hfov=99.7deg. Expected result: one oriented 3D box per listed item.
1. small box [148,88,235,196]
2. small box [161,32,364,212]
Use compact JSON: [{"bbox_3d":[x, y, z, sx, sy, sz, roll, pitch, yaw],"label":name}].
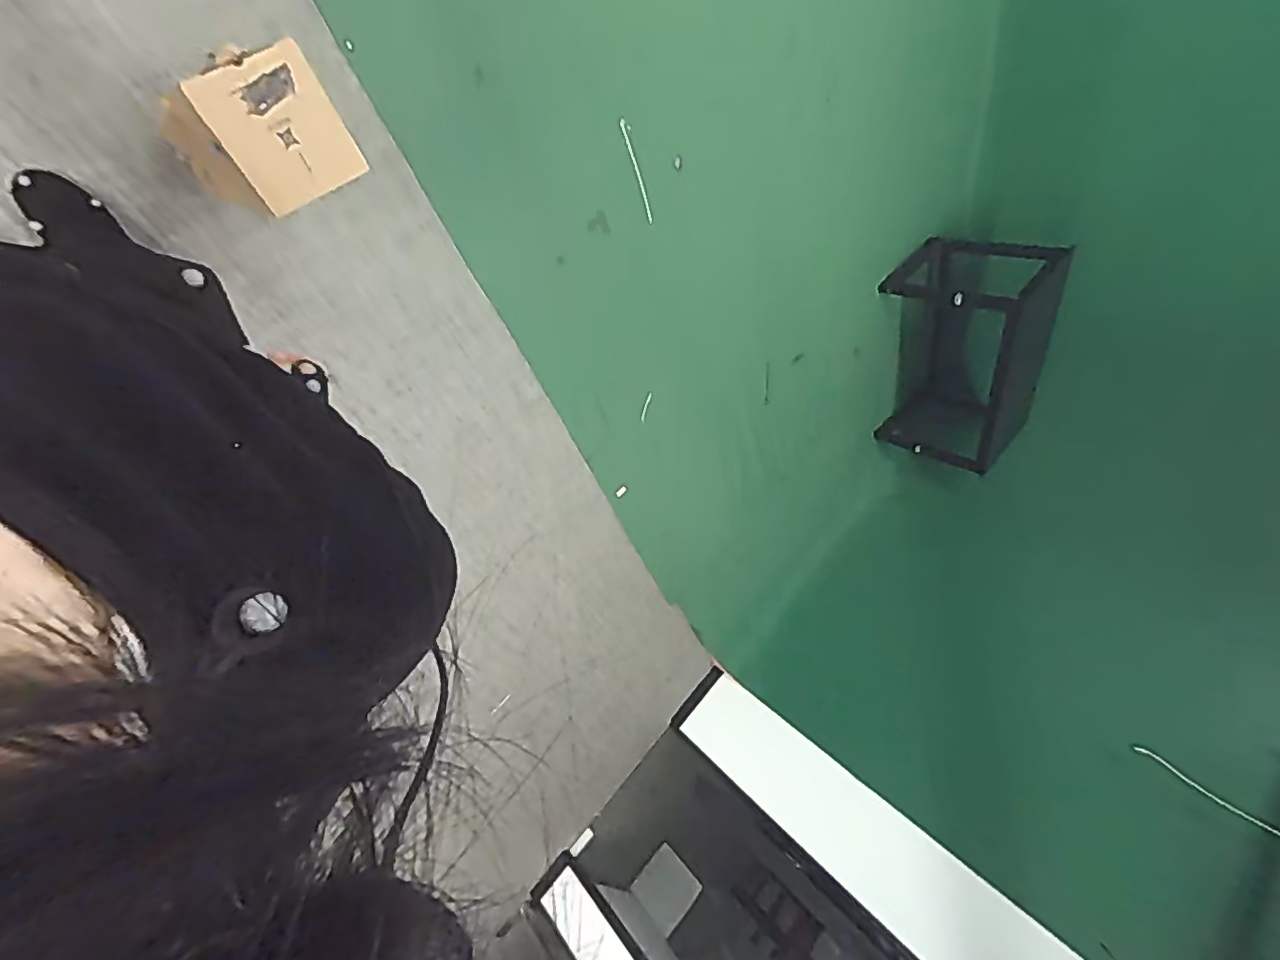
[{"bbox_3d":[-0.784,-0.655,1.028,0.179,0.176,0.168,-36,135,-25],"label":"small box"},{"bbox_3d":[-0.567,-0.531,0.814,0.168,0.176,0.179,-43,139,-20],"label":"small box"}]
